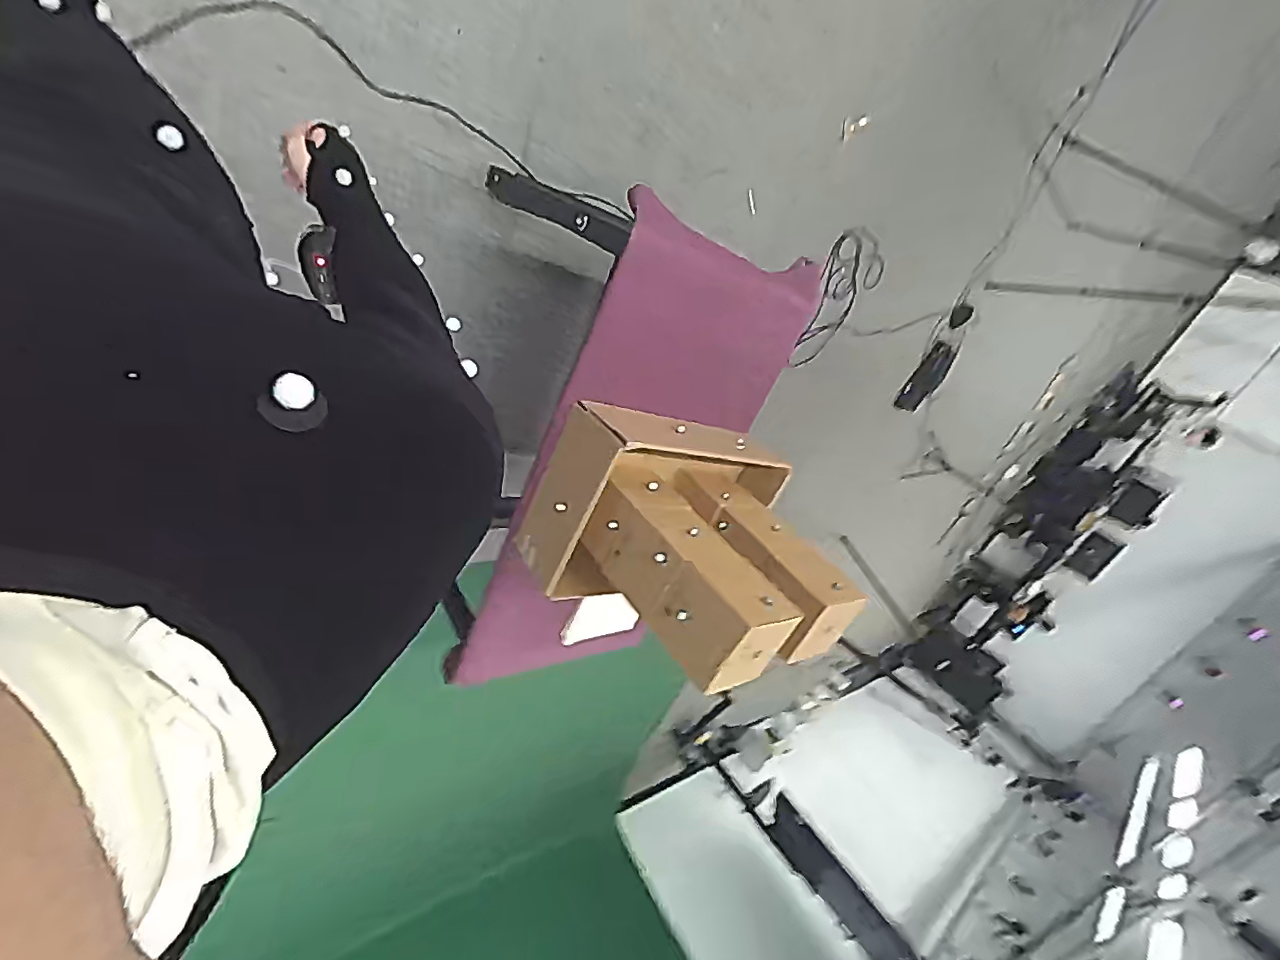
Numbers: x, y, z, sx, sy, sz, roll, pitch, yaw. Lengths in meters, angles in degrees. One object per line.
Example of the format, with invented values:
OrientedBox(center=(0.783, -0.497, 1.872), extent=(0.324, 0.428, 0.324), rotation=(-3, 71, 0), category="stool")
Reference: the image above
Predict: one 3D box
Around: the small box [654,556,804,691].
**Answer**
OrientedBox(center=(0.161, 0.255, 1.002), extent=(0.179, 0.176, 0.168), rotation=(6, 120, -45), category="small box")

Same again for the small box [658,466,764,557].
OrientedBox(center=(0.179, 0.078, 1.393), extent=(0.179, 0.176, 0.168), rotation=(3, 122, -41), category="small box")

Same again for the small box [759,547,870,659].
OrientedBox(center=(0.359, 0.261, 1.190), extent=(0.179, 0.176, 0.168), rotation=(3, 122, -41), category="small box")

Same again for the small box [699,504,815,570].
OrientedBox(center=(0.273, 0.169, 1.294), extent=(0.179, 0.176, 0.168), rotation=(1, 123, -41), category="small box")
